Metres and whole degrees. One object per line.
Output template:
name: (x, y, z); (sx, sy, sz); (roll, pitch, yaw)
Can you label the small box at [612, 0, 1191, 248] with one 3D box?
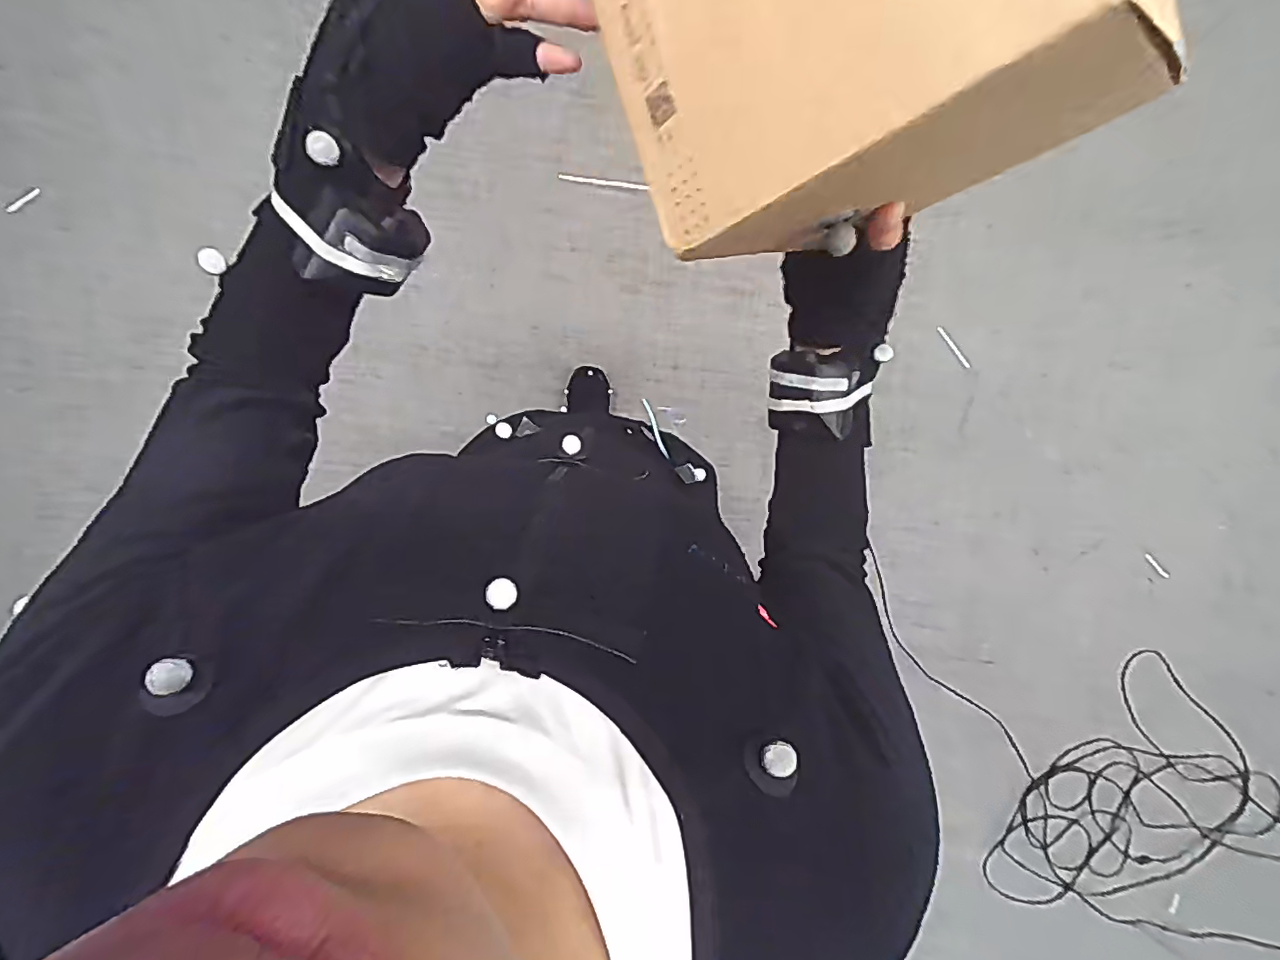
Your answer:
small box: (0.108, -0.216, 0.234); (0.179, 0.176, 0.168); (-24, 101, -40)
